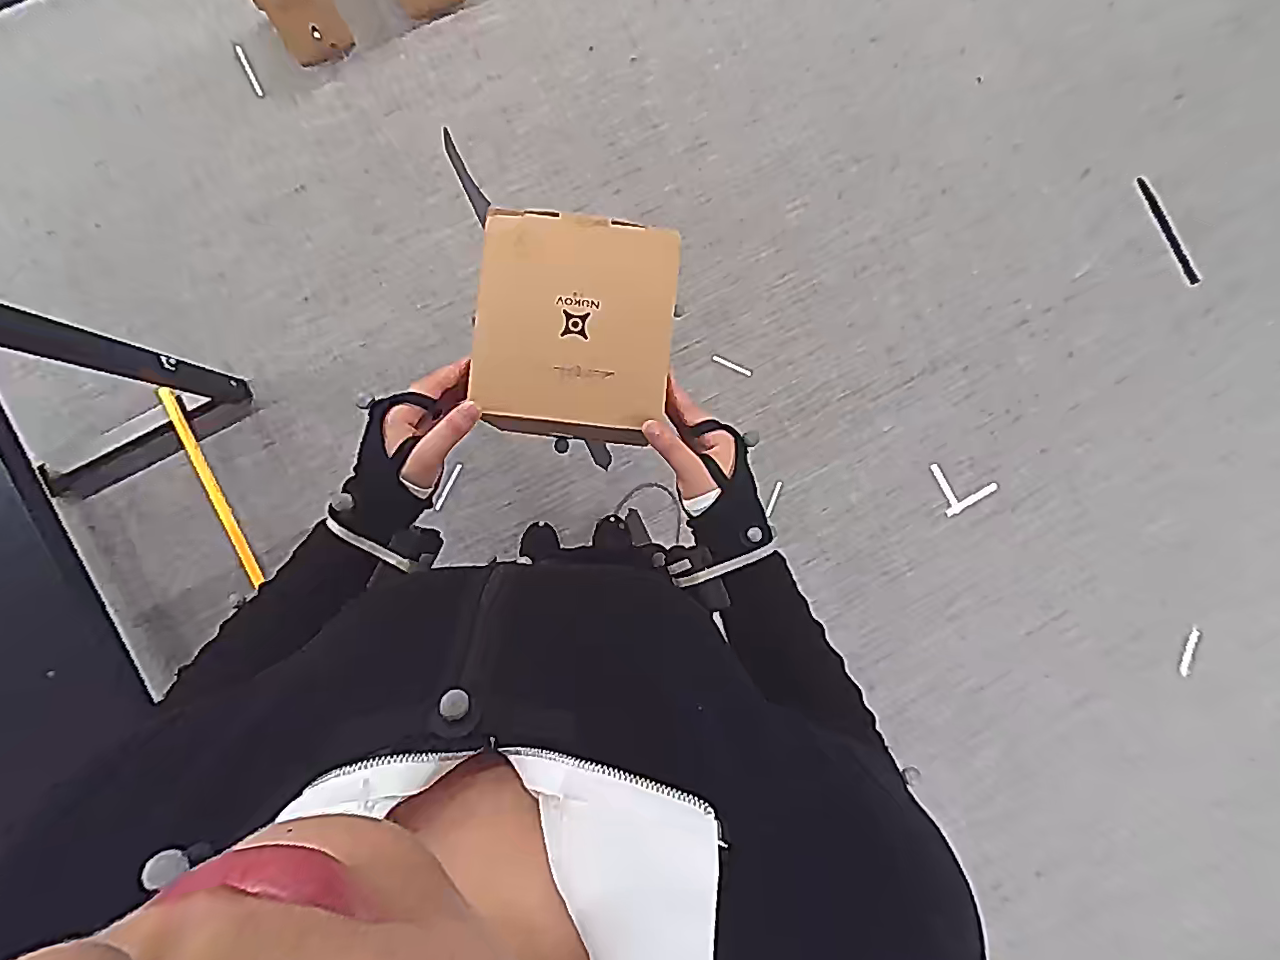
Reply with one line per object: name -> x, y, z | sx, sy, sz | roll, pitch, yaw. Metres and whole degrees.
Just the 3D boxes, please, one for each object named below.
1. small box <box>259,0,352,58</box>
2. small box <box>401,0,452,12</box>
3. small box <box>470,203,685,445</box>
small box -> -0.894, -1.258, 1.413 | 0.168, 0.176, 0.179 | -27, 91, -4
small box -> -0.596, -1.409, 1.438 | 0.179, 0.176, 0.168 | -24, 90, -5
small box -> -0.057, -0.135, 0.532 | 0.168, 0.176, 0.179 | 6, 89, -3
